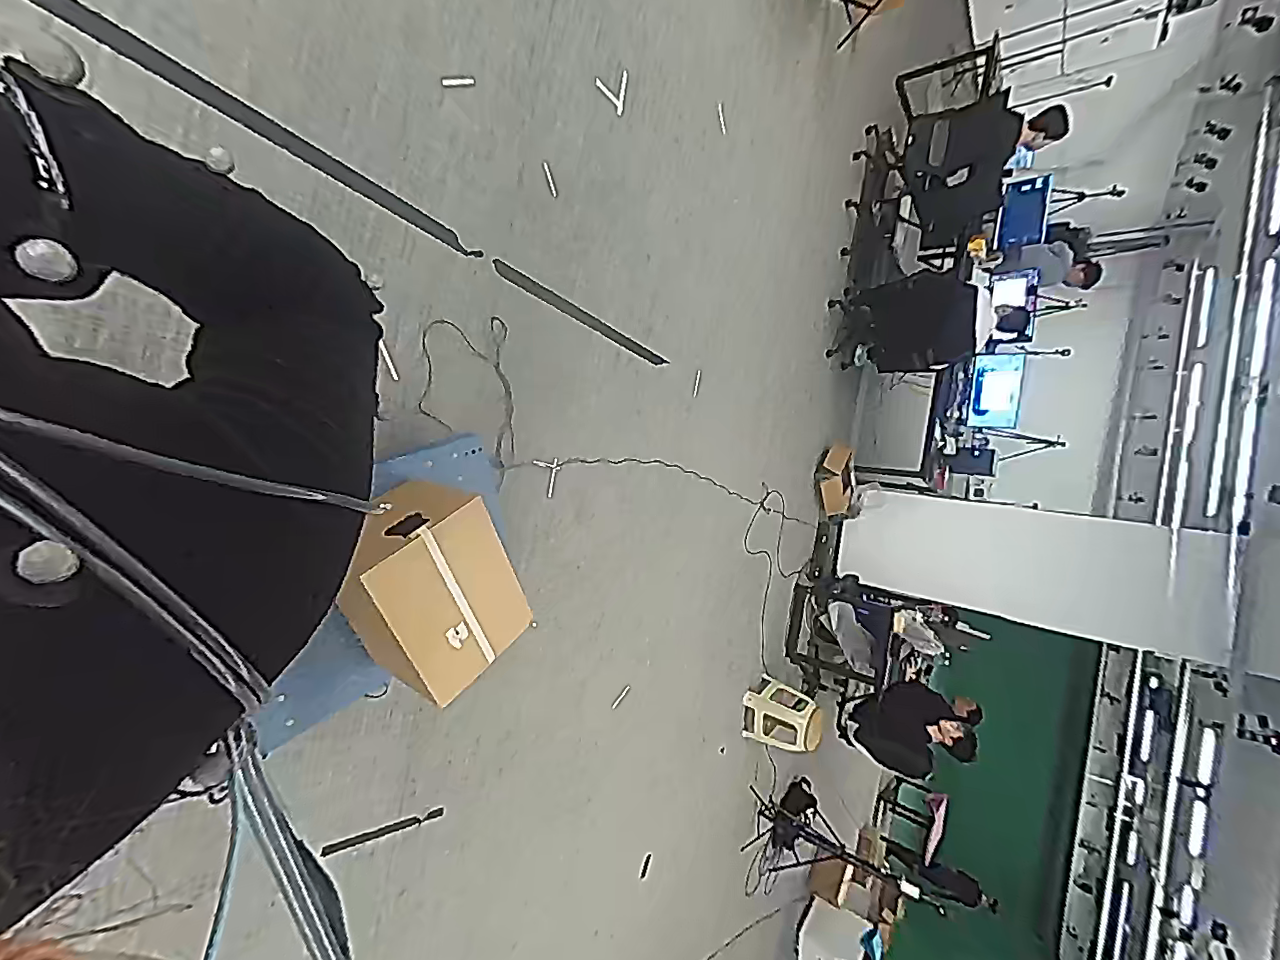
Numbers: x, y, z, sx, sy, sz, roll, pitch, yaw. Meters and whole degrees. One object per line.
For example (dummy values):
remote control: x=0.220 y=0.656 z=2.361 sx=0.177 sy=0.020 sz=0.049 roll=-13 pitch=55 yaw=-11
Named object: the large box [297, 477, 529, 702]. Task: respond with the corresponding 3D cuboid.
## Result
large box: x=-0.542 y=0.251 z=1.332 sx=0.320 sy=0.320 sz=0.408 roll=-41 pitch=128 yaw=-39
